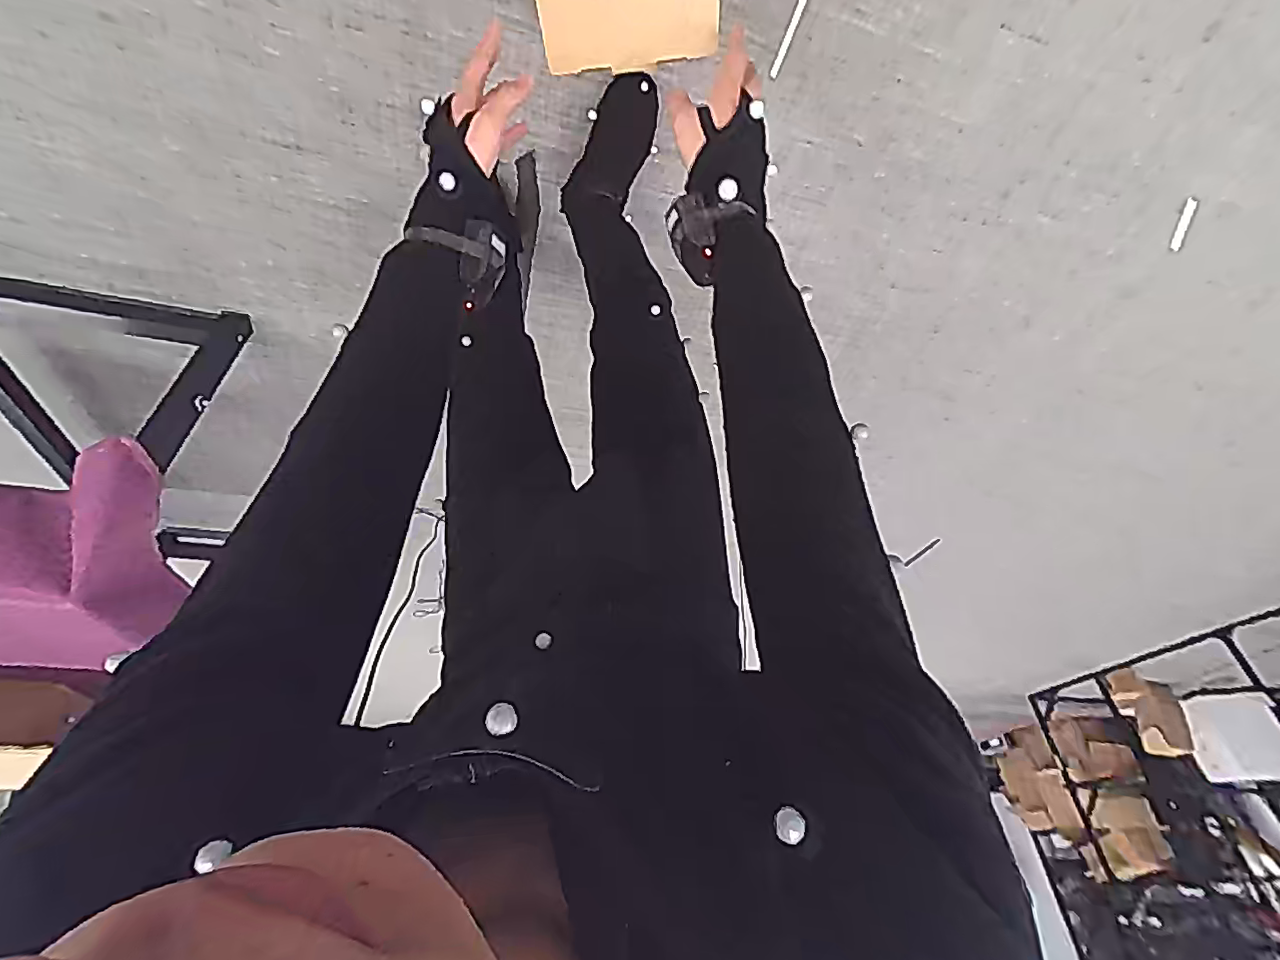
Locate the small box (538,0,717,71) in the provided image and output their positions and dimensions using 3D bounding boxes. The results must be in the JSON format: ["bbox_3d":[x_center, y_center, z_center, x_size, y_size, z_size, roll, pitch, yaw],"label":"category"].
[{"bbox_3d":[-0.016,-0.522,0.504,0.168,0.176,0.179,-5,144,3],"label":"small box"}]
